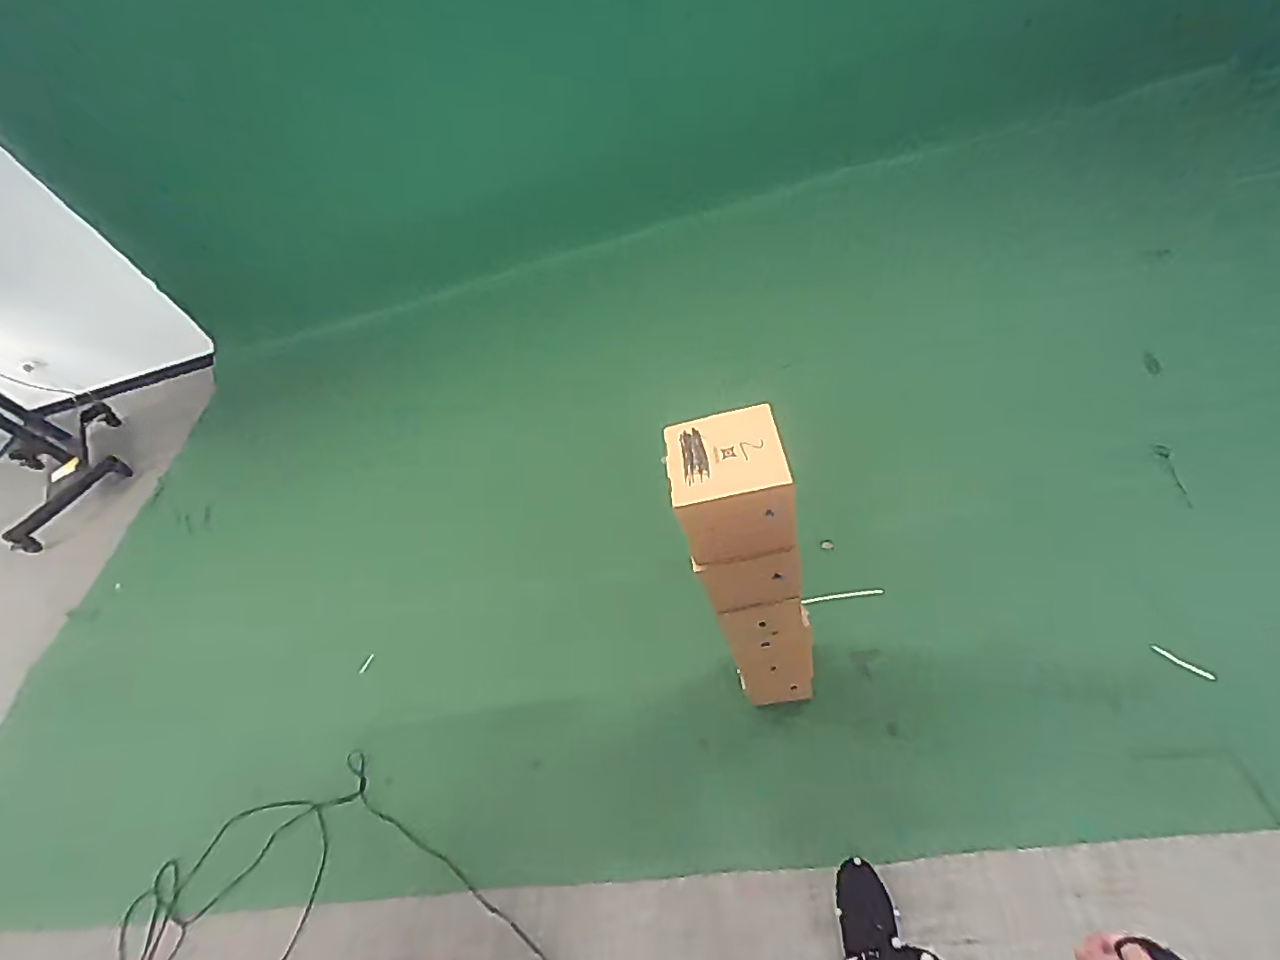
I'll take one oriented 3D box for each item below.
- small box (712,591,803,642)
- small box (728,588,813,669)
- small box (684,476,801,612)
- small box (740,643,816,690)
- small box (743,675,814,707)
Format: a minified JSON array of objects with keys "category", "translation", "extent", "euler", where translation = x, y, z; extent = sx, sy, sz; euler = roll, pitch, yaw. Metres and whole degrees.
[{"category":"small box","translation":[0.233,0.221,1.115],"extent":[0.168,0.176,0.179],"euler":[-14,51,9]},{"category":"small box","translation":[0.285,0.315,1.237],"extent":[0.179,0.176,0.168],"euler":[-15,51,8]},{"category":"small box","translation":[0.191,0.122,0.991],"extent":[0.179,0.176,0.168],"euler":[-14,49,10]},{"category":"small box","translation":[0.333,0.412,1.360],"extent":[0.179,0.176,0.168],"euler":[-15,50,9]},{"category":"small box","translation":[0.371,0.511,1.483],"extent":[0.179,0.176,0.168],"euler":[-12,51,11]}]
